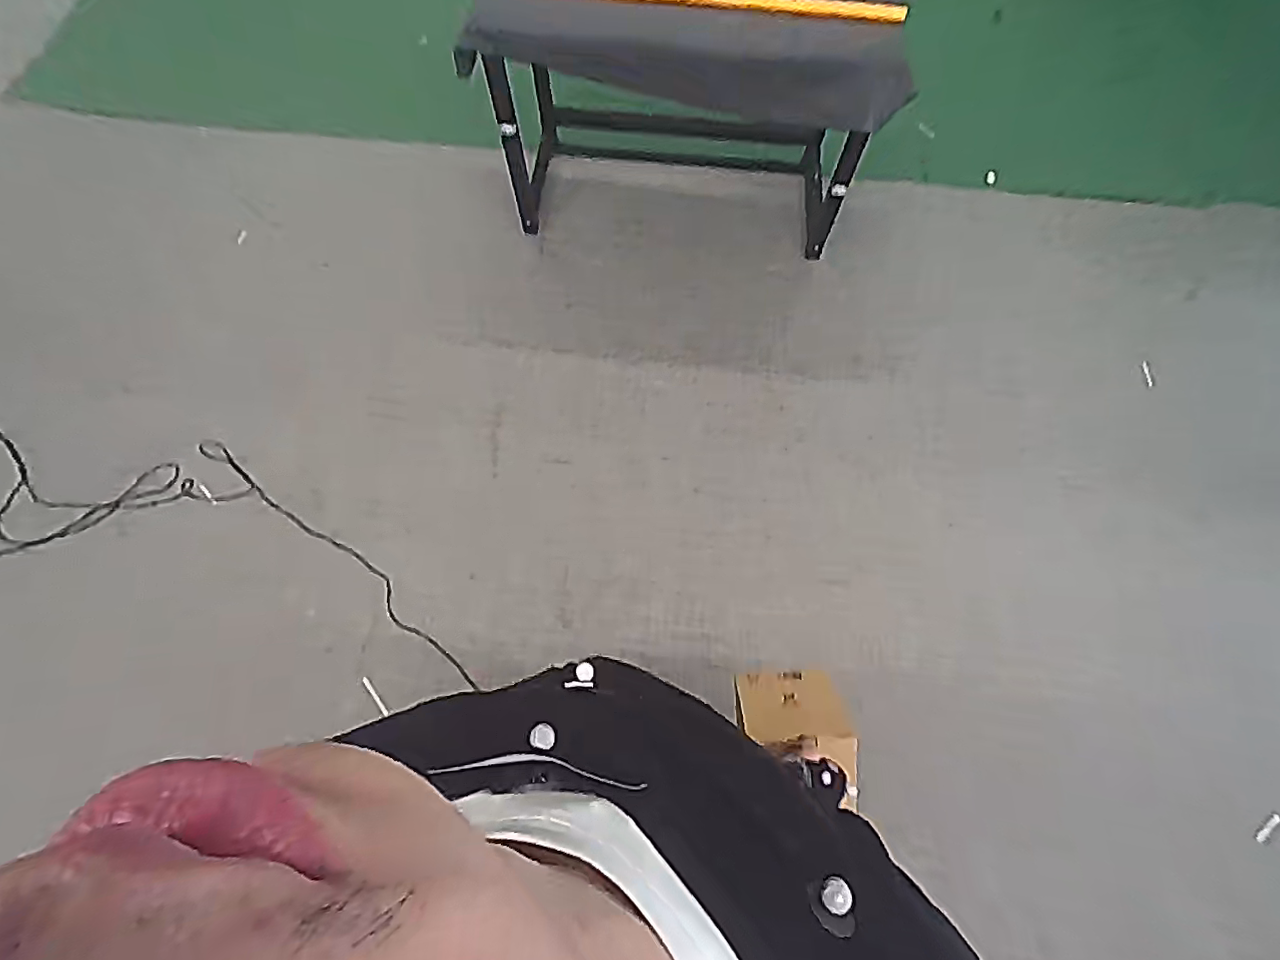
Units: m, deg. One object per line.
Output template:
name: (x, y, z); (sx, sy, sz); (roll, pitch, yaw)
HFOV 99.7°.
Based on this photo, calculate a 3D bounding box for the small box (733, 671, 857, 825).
small box: (0.258, 0.454, 0.917); (0.168, 0.179, 0.176); (-6, 103, 2)
